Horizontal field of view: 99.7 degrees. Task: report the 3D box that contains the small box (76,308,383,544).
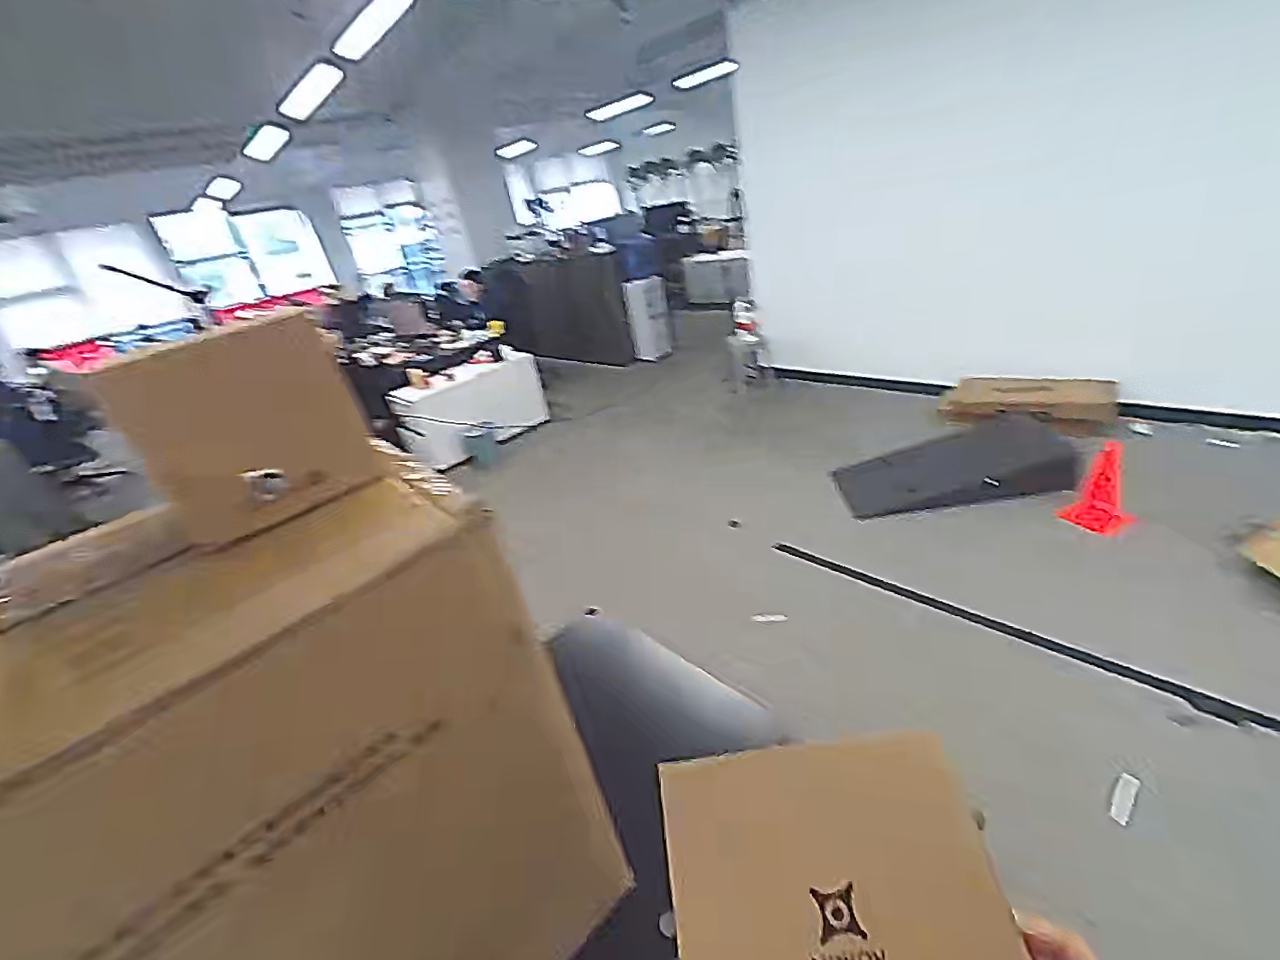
[{"bbox_3d":[-0.387,-0.060,0.532,0.168,0.176,0.179,-33,33,-30],"label":"small box"}]
